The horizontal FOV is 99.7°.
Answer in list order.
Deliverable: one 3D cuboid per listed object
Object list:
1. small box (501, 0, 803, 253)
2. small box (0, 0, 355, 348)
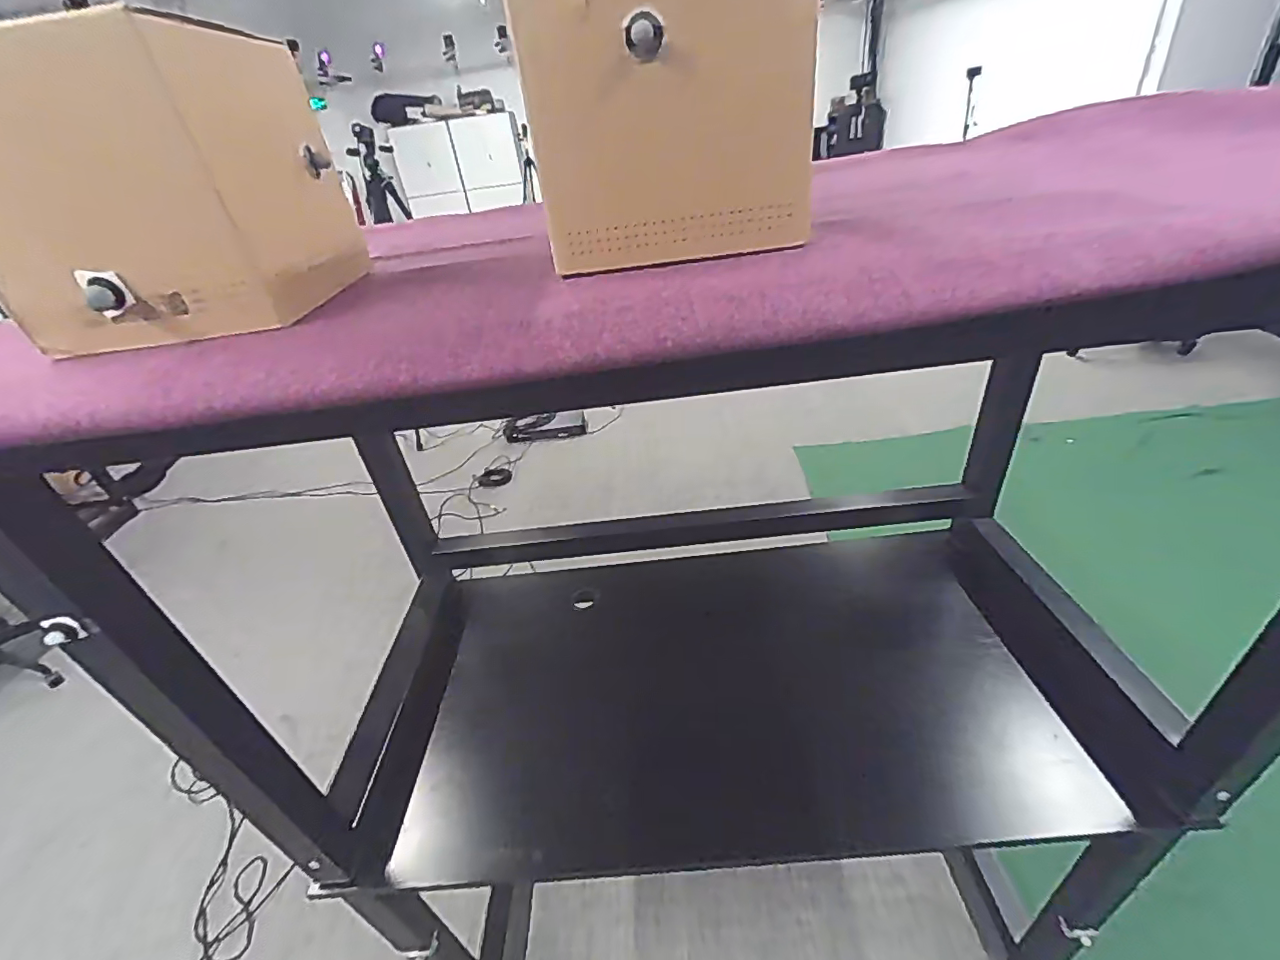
[{"bbox_3d":[0.014,-0.270,0.387,0.179,0.176,0.168,-6,32,4],"label":"small box"},{"bbox_3d":[-0.331,-0.208,0.377,0.168,0.176,0.179,-10,35,1],"label":"small box"}]
